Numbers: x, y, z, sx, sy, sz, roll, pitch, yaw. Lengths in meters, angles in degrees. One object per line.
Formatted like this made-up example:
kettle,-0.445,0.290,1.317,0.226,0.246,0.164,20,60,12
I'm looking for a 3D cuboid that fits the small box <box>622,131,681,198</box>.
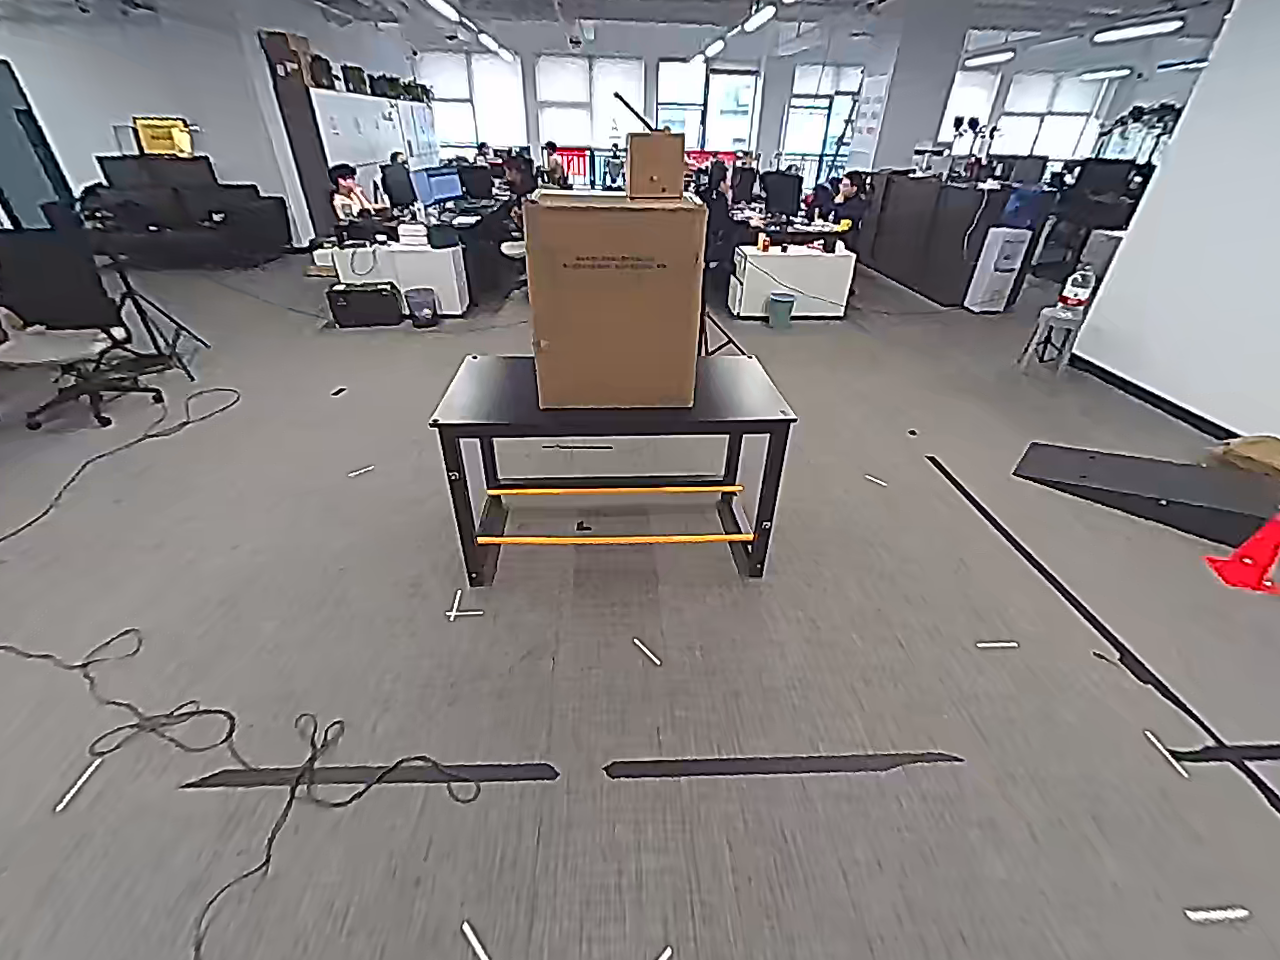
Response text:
small box,0.029,-0.971,1.663,0.168,0.176,0.179,-3,32,-5
